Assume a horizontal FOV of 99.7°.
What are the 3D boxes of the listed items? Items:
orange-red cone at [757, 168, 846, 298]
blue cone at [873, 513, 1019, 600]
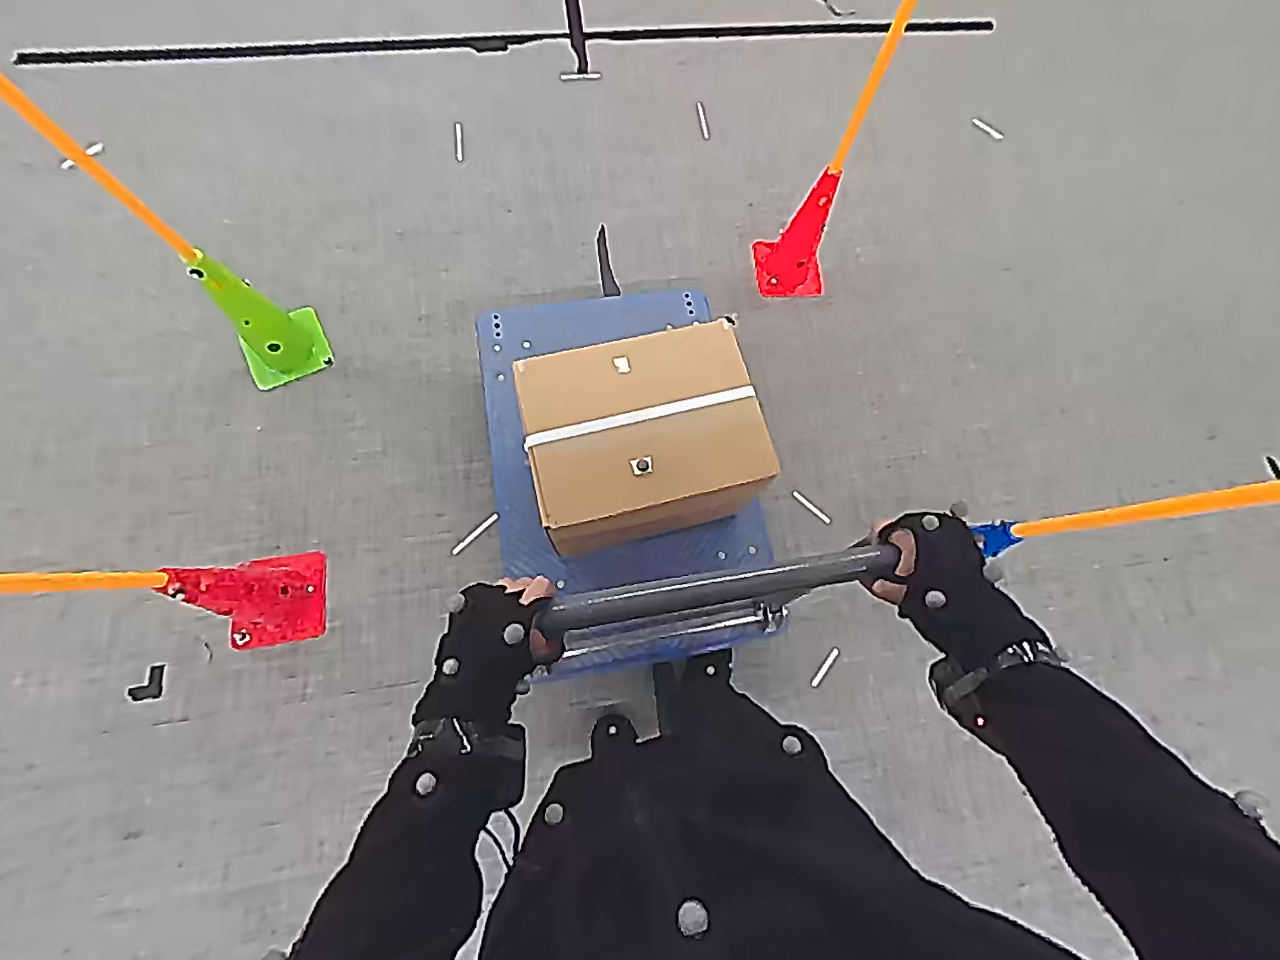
[{"bbox_3d":[0.469,-0.690,1.474,0.199,0.360,0.198,0,73,-5],"label":"orange-red cone"},{"bbox_3d":[0.722,0.152,1.234,0.193,0.380,0.192,-10,72,-8],"label":"blue cone"}]
